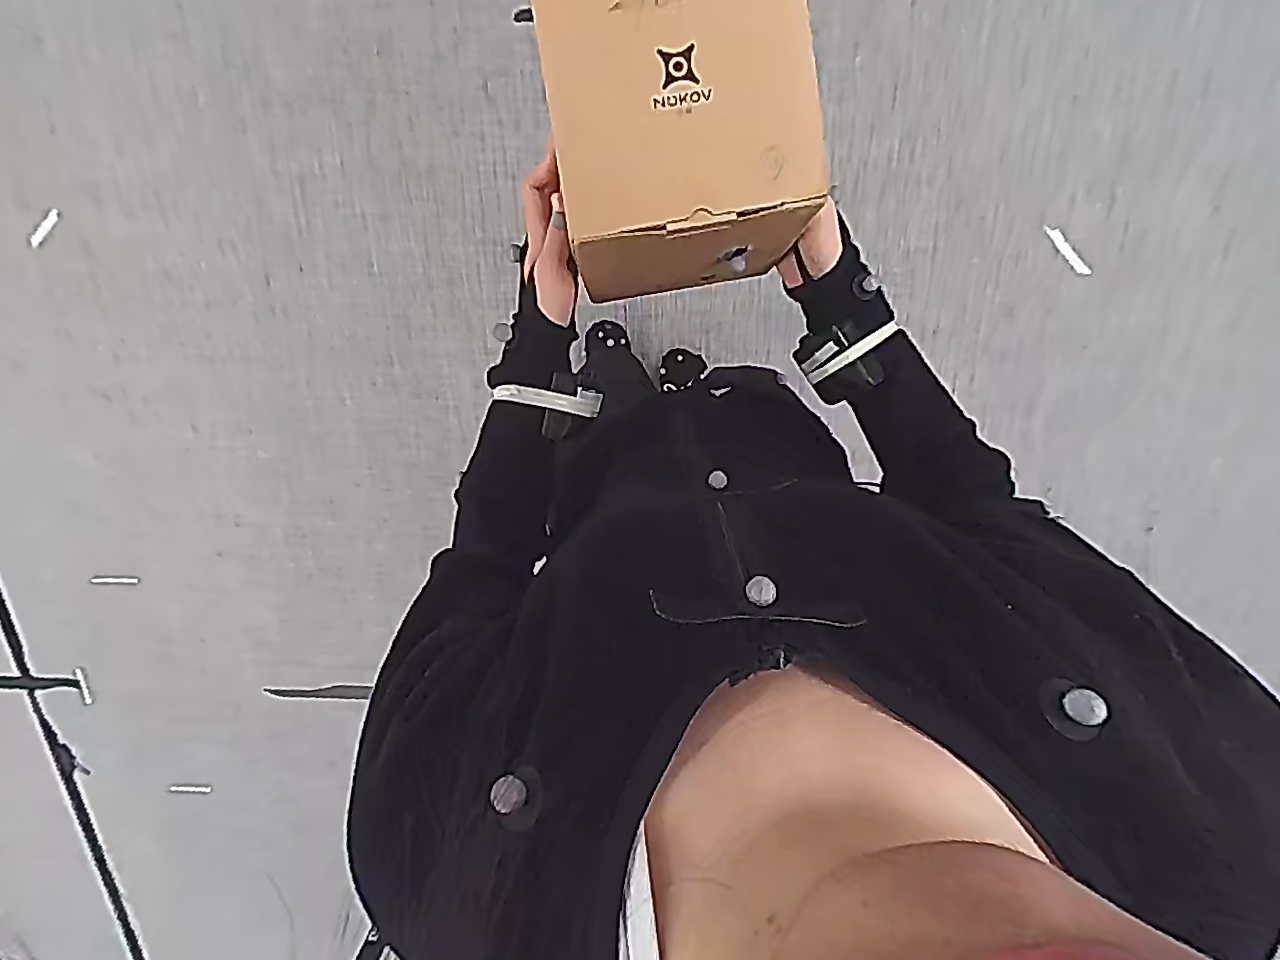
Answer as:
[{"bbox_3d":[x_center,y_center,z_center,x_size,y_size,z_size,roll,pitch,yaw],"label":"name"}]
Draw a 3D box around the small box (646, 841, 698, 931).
[{"bbox_3d":[0.107,1.346,1.798,0.168,0.176,0.179,1,106,3],"label":"small box"}]
